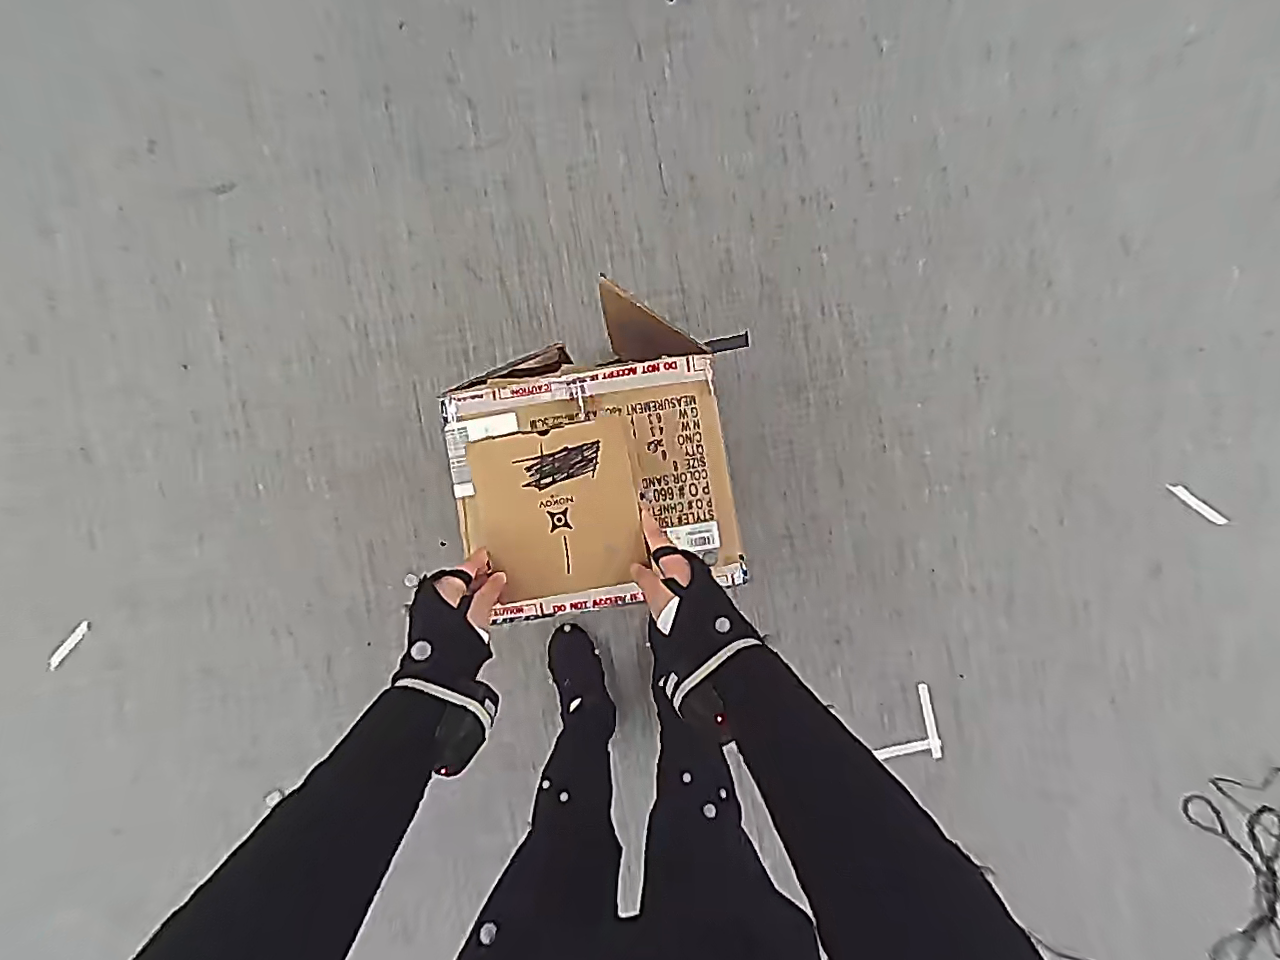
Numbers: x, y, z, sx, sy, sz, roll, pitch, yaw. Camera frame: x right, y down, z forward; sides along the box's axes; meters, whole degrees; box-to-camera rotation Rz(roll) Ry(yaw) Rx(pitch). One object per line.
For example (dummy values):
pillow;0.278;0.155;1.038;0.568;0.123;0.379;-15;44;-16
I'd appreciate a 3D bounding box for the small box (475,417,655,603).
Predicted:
small box;-0.077;0.027;0.643;0.168;0.176;0.179;-10;95;3
